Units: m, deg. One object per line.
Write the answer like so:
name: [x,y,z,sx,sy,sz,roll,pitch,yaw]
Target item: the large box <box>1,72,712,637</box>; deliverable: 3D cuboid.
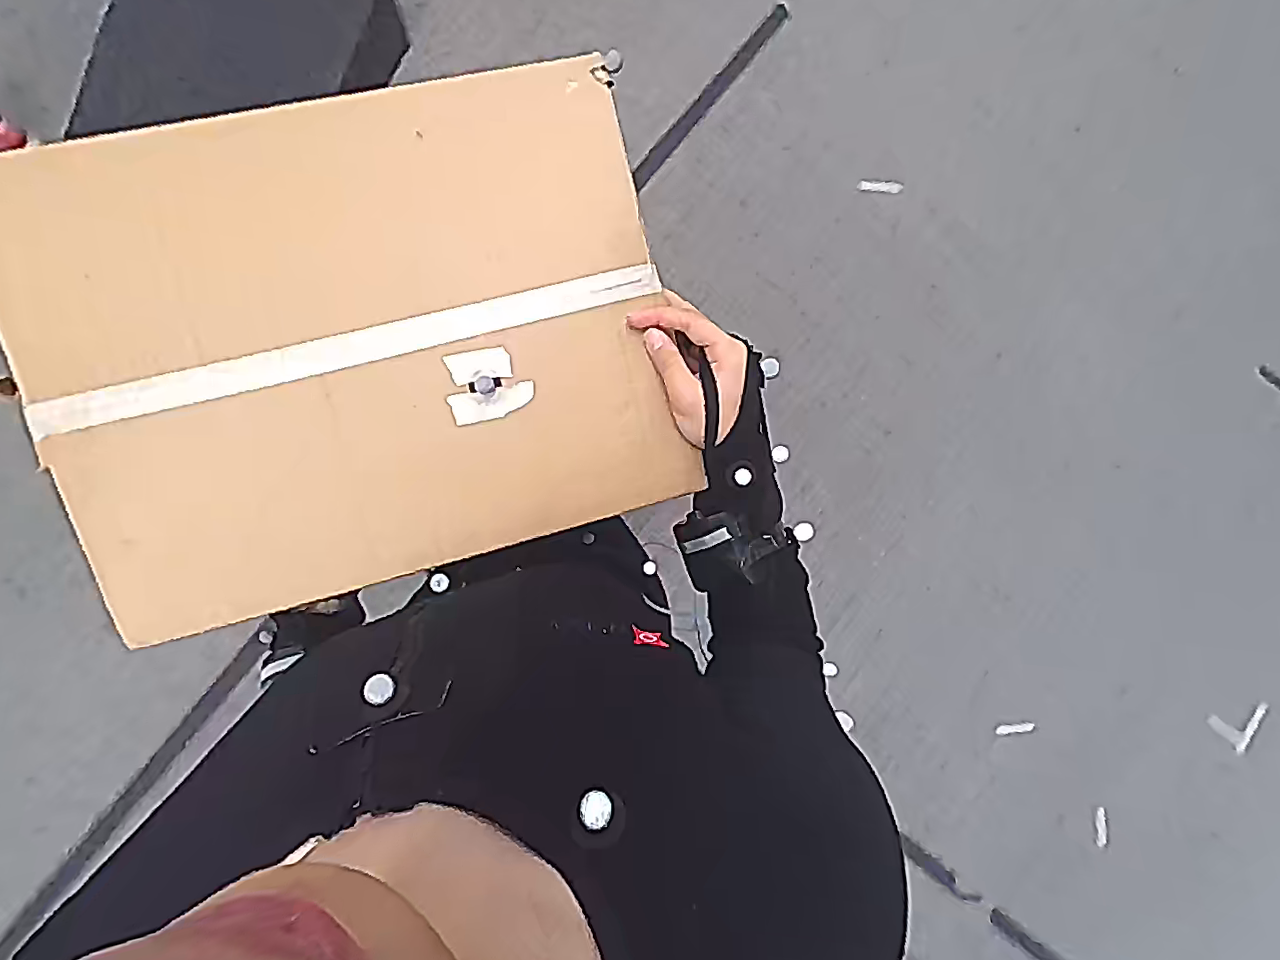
large box: [-0.194,-0.100,0.520,0.408,0.320,0.320,-16,97,-8]
